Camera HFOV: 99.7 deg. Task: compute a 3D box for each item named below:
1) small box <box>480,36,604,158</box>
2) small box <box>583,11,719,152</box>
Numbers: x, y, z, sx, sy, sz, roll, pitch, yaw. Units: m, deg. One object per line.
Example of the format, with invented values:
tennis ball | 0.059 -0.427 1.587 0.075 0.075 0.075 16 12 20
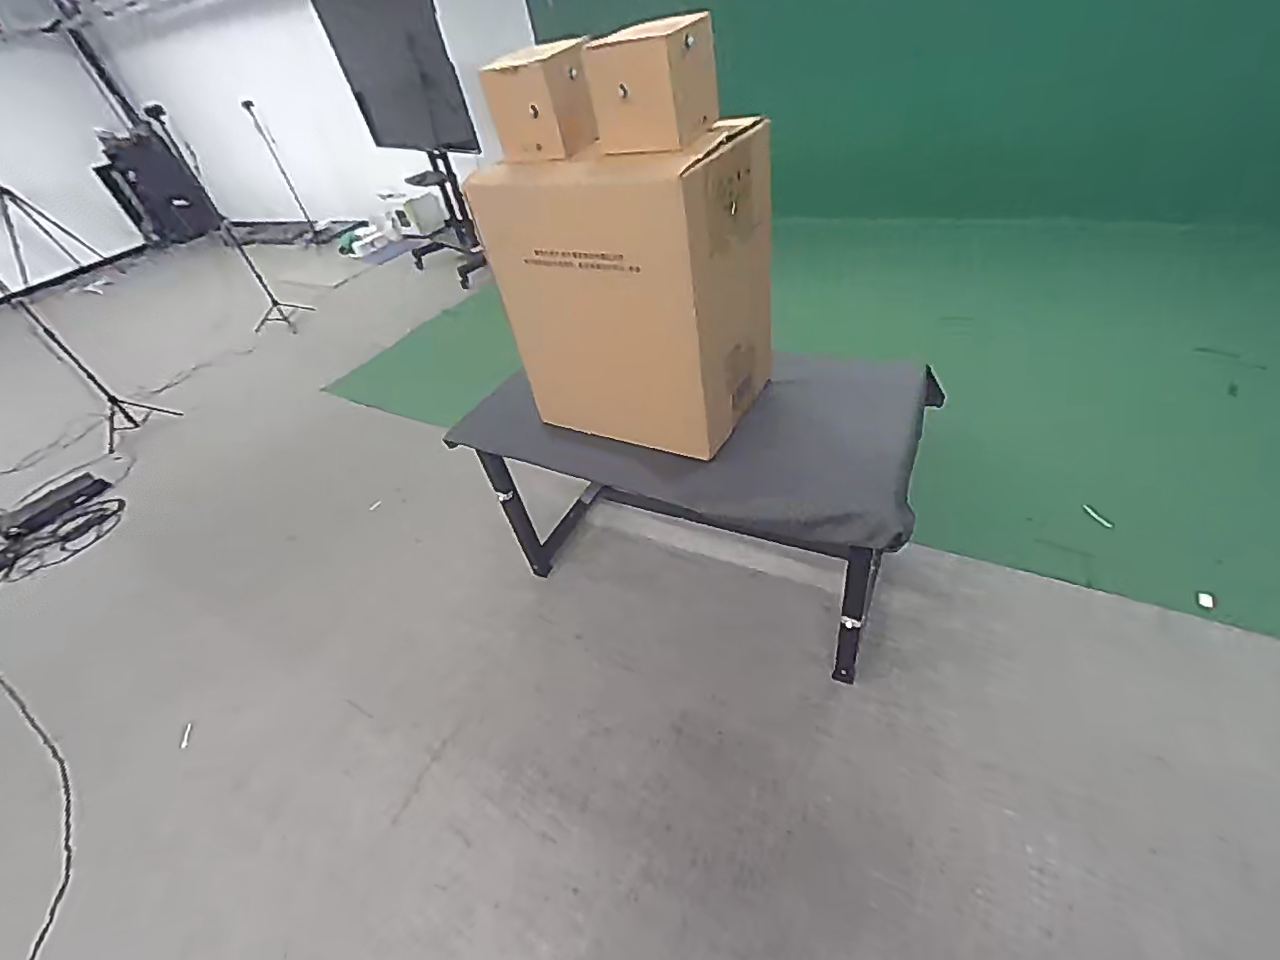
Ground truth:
small box | -0.189 -0.782 1.118 0.168 0.176 0.179 16 52 27
small box | 0.029 -0.724 0.995 0.179 0.176 0.168 16 53 30
